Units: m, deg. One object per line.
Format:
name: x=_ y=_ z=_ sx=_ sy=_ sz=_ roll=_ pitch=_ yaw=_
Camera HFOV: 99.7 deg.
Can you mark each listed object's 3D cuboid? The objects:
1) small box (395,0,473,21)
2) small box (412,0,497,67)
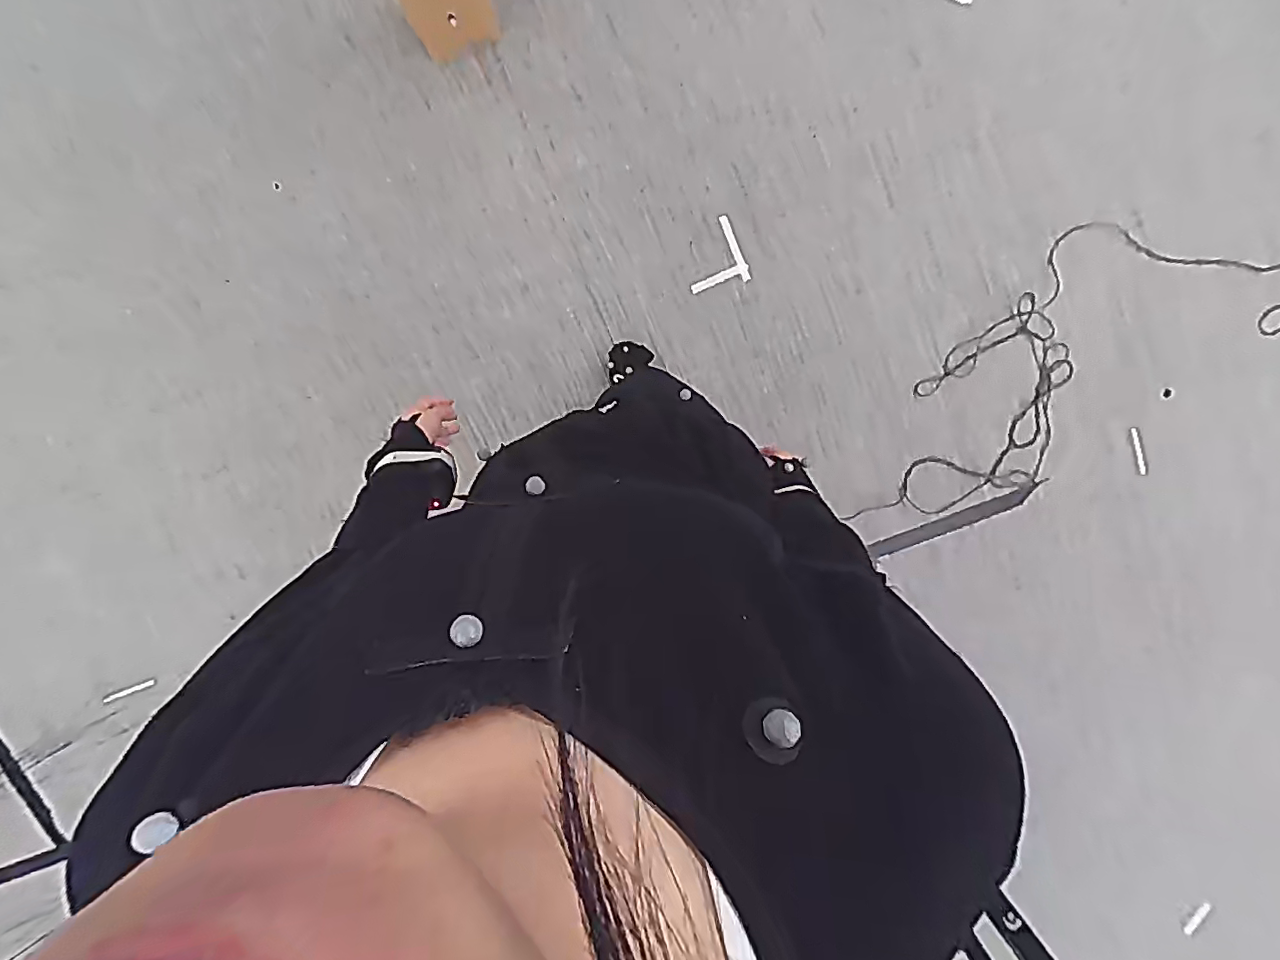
small box: x=-0.437 y=-1.060 z=1.059 sx=0.179 sy=0.176 sz=0.168 roll=-19 pitch=100 yaw=1
small box: x=-0.437 y=-1.091 z=1.221 sx=0.179 sy=0.176 sz=0.168 roll=-21 pitch=99 yaw=1
